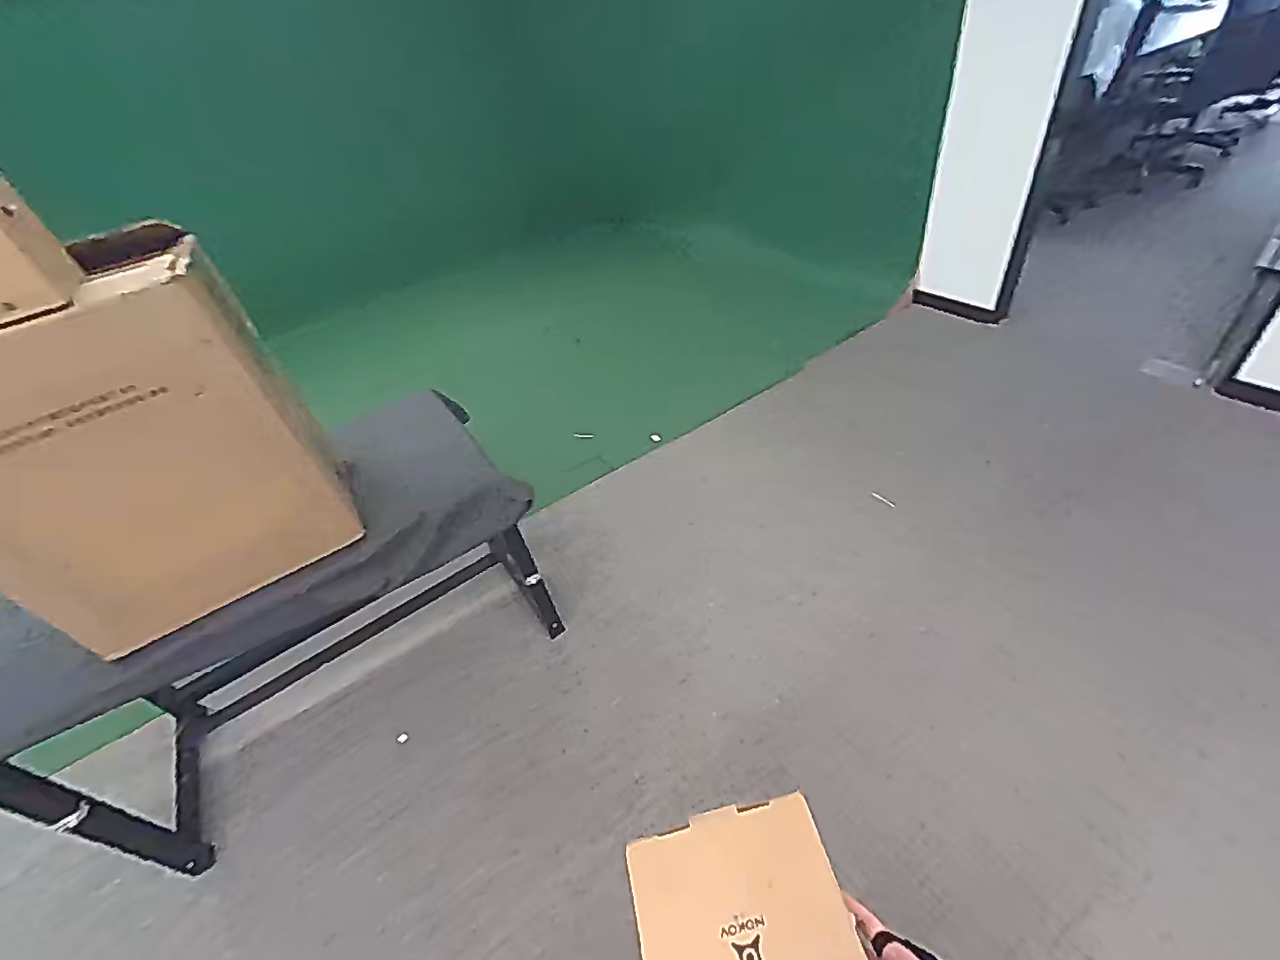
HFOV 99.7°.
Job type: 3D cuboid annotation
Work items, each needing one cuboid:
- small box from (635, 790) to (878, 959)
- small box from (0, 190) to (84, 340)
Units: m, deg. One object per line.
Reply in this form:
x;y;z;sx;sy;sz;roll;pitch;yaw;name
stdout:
0.106;0.410;0.472;0.168;0.176;0.179;-19;45;-1;small box
-0.988;-0.306;0.798;0.168;0.176;0.179;-29;42;-19;small box
